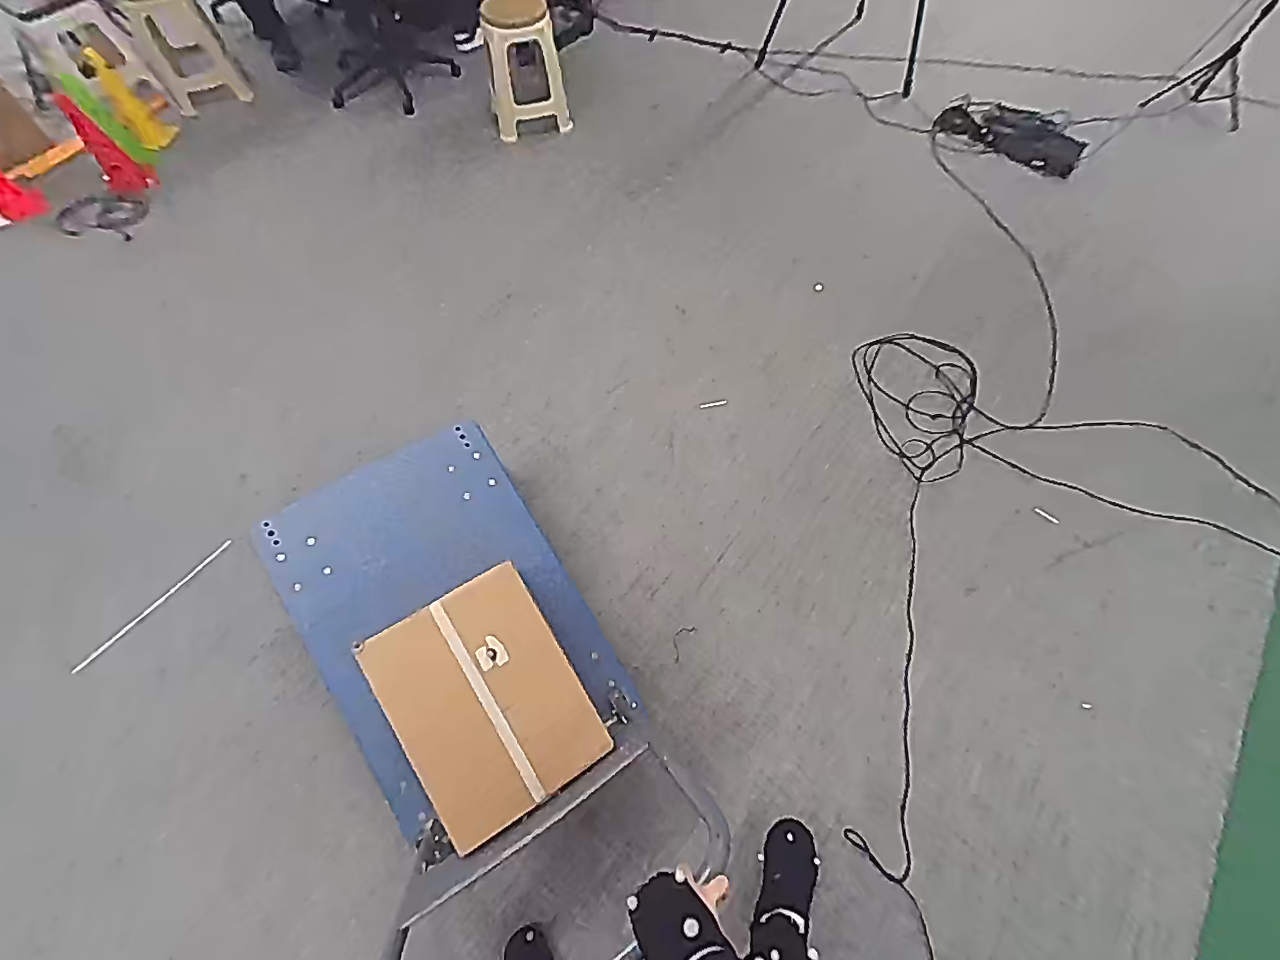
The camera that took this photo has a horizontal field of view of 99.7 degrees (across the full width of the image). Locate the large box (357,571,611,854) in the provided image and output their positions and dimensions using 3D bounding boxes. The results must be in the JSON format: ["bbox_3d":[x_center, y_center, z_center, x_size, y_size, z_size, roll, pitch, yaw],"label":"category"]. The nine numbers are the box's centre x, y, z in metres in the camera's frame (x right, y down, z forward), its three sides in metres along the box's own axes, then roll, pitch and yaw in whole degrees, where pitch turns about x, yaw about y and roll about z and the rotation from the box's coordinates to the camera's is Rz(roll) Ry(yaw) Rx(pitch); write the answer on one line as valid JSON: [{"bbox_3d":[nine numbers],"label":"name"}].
[{"bbox_3d":[-0.306,0.450,1.139,0.320,0.320,0.408,-30,83,-16],"label":"large box"}]
